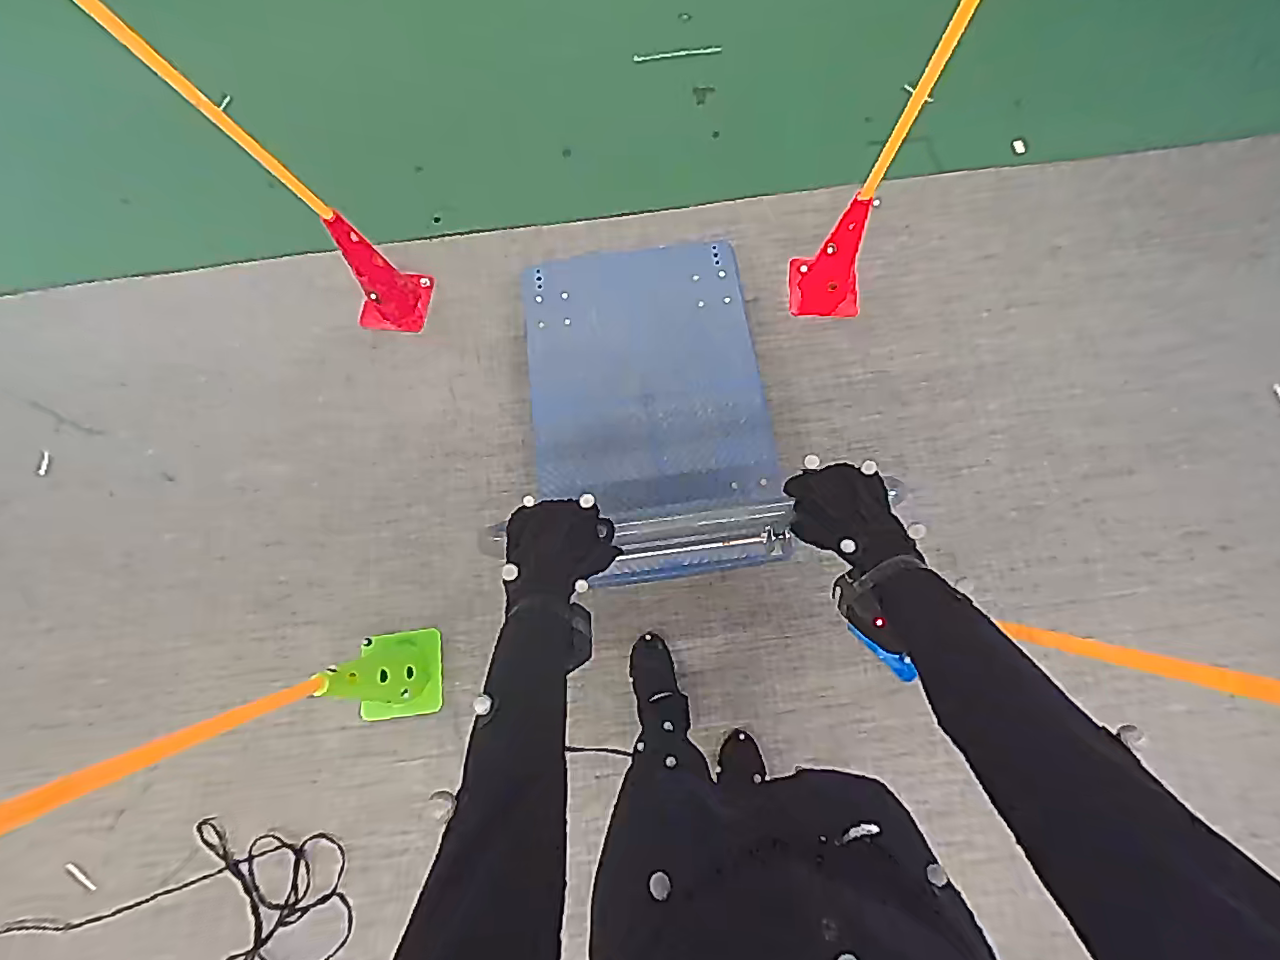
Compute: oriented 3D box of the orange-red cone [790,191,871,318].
[{"bbox_3d":[0.540,-0.620,1.451,0.198,0.360,0.199,4,74,4],"label":"orange-red cone"}]
